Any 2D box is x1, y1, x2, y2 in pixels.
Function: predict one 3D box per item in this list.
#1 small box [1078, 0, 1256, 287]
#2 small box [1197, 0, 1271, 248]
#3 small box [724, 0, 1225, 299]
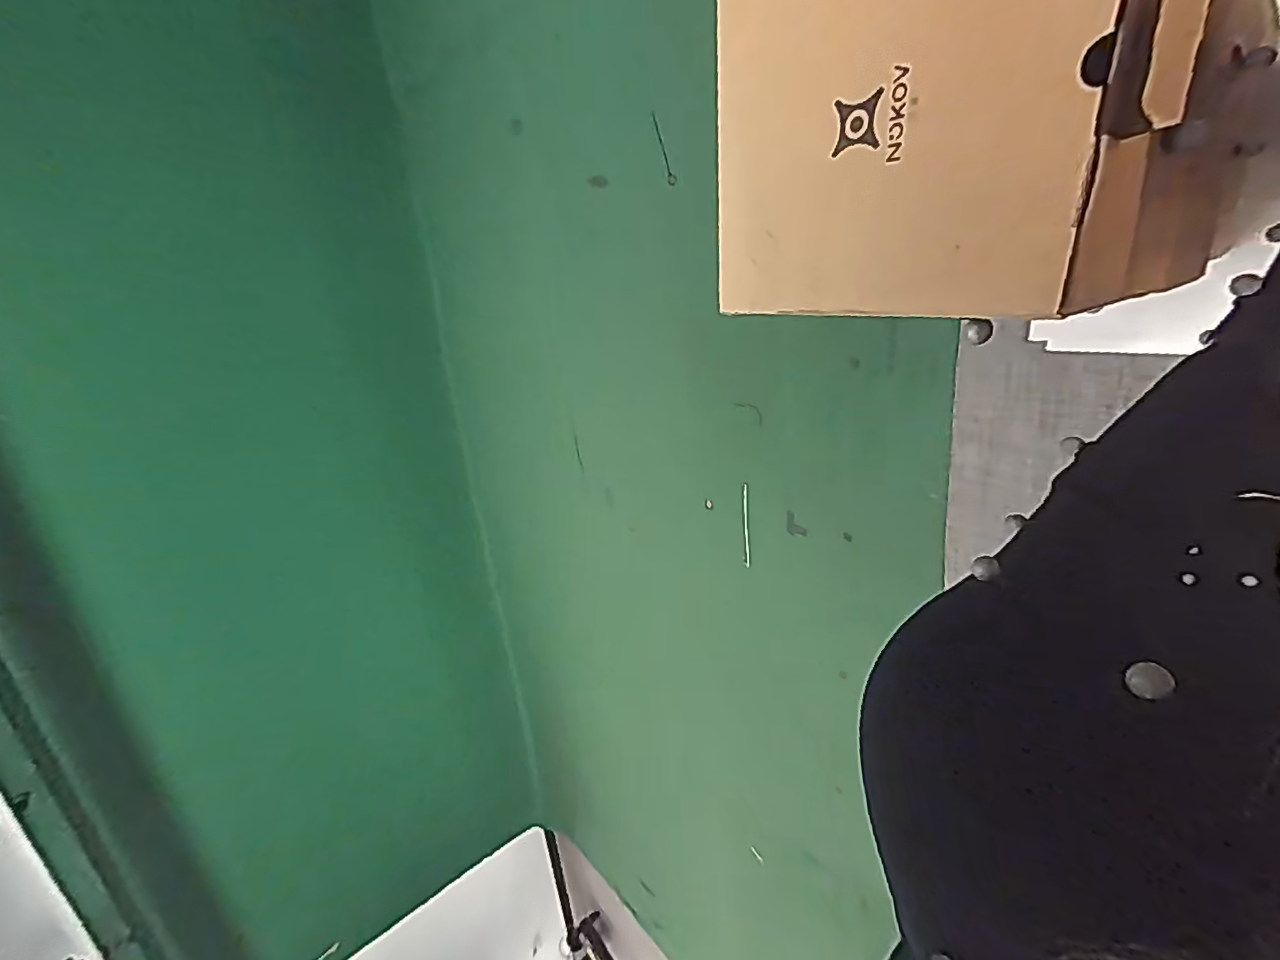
[{"bbox_3d":[0.291,-0.227,0.387,0.179,0.176,0.168,17,118,48],"label":"small box"},{"bbox_3d":[0.411,-0.288,0.477,0.168,0.176,0.179,16,119,46],"label":"small box"},{"bbox_3d":[0.165,-0.187,0.290,0.179,0.176,0.168,19,120,46],"label":"small box"}]
